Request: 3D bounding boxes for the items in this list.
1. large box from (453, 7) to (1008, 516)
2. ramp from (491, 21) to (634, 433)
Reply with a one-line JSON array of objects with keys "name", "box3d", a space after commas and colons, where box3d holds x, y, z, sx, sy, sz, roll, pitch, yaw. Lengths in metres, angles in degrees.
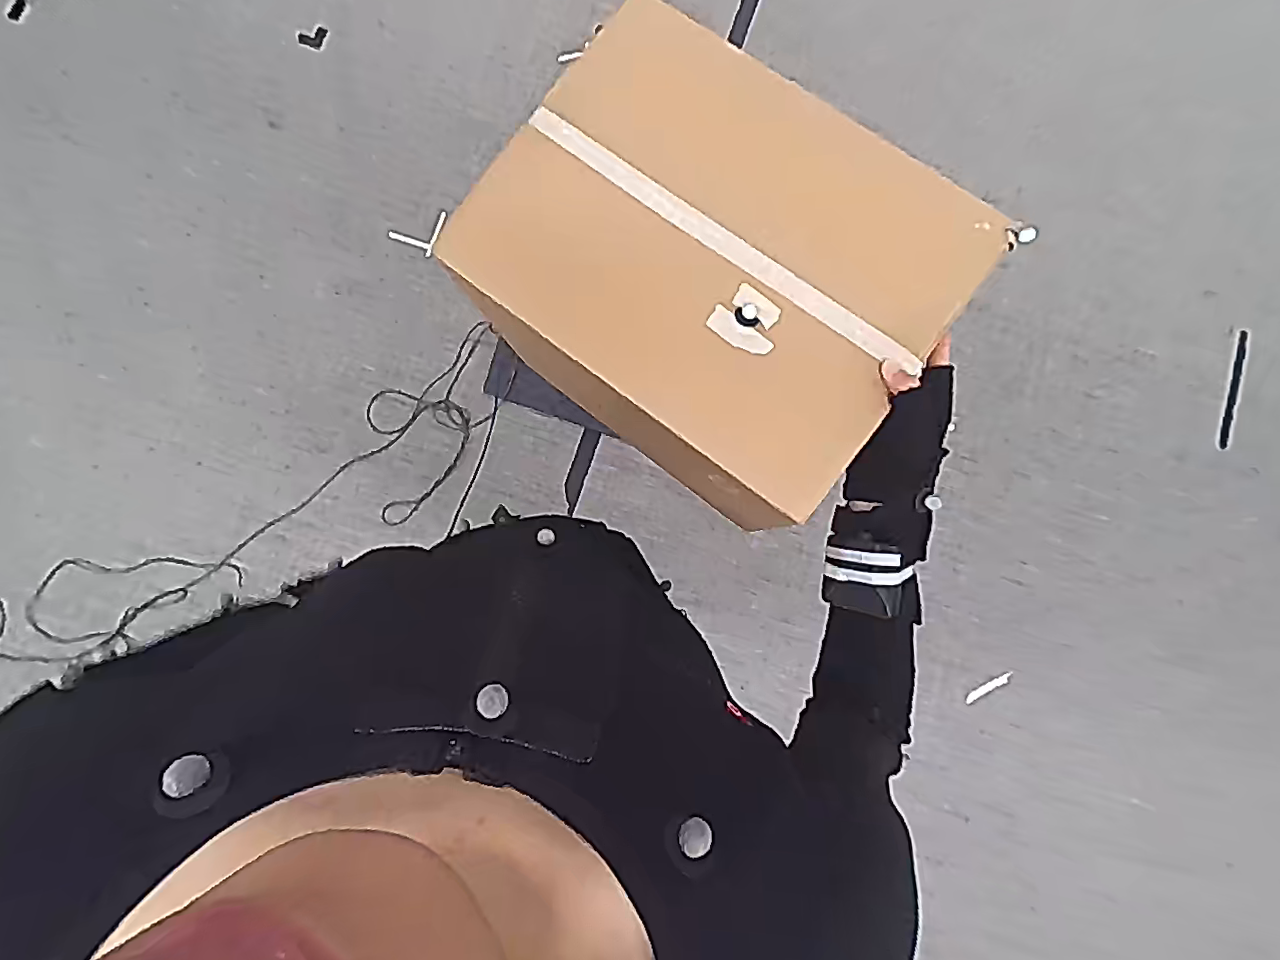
[{"name": "large box", "box3d": [0.081, -0.200, 0.630, 0.408, 0.320, 0.320, 37, 88, 7]}, {"name": "ramp", "box3d": [-0.031, -0.659, 1.474, 0.509, 0.206, 0.991, 17, 85, -5]}]
